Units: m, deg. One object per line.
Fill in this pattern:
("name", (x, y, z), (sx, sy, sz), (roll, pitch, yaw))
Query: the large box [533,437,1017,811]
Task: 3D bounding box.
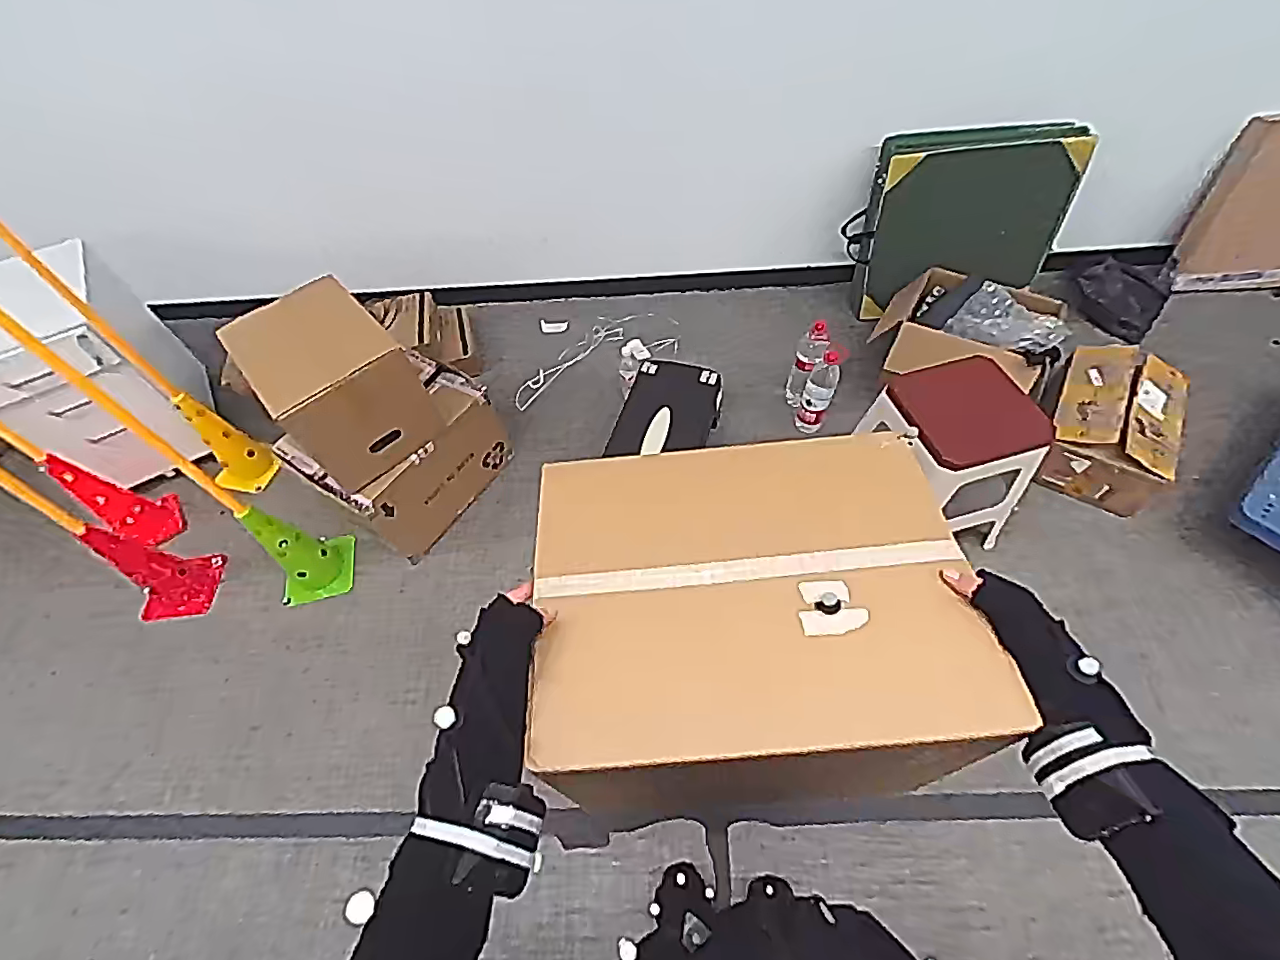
("large box", (0.108, 0.181, 0.643), (0.408, 0.320, 0.320), (-5, 53, 2))
